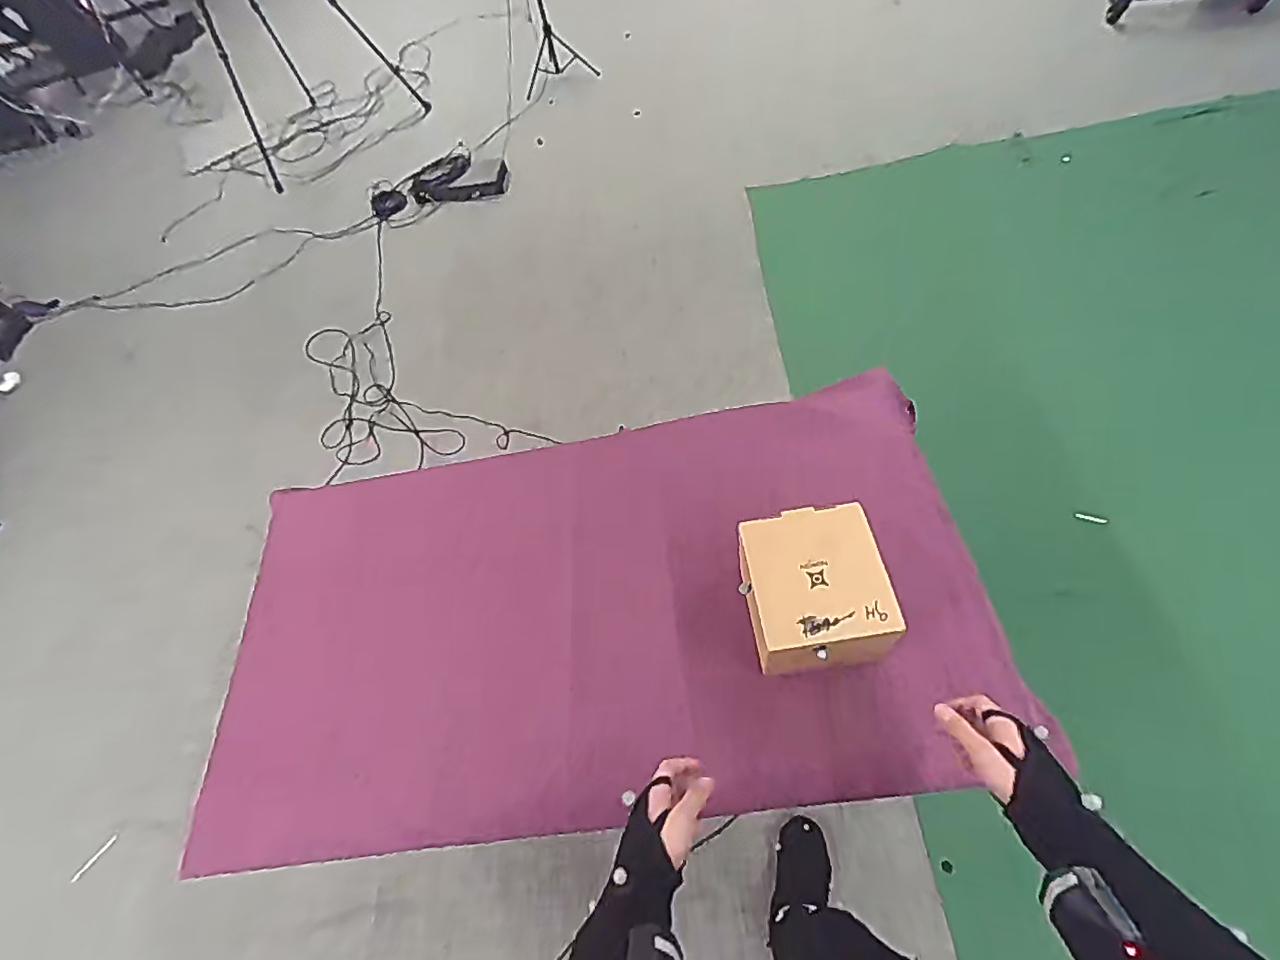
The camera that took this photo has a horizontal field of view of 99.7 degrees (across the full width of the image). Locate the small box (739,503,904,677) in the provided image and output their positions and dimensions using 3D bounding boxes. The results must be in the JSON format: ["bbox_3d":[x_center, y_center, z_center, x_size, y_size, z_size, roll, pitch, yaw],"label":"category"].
[{"bbox_3d":[0.233,0.157,0.746,0.168,0.176,0.179,-11,58,6],"label":"small box"}]
